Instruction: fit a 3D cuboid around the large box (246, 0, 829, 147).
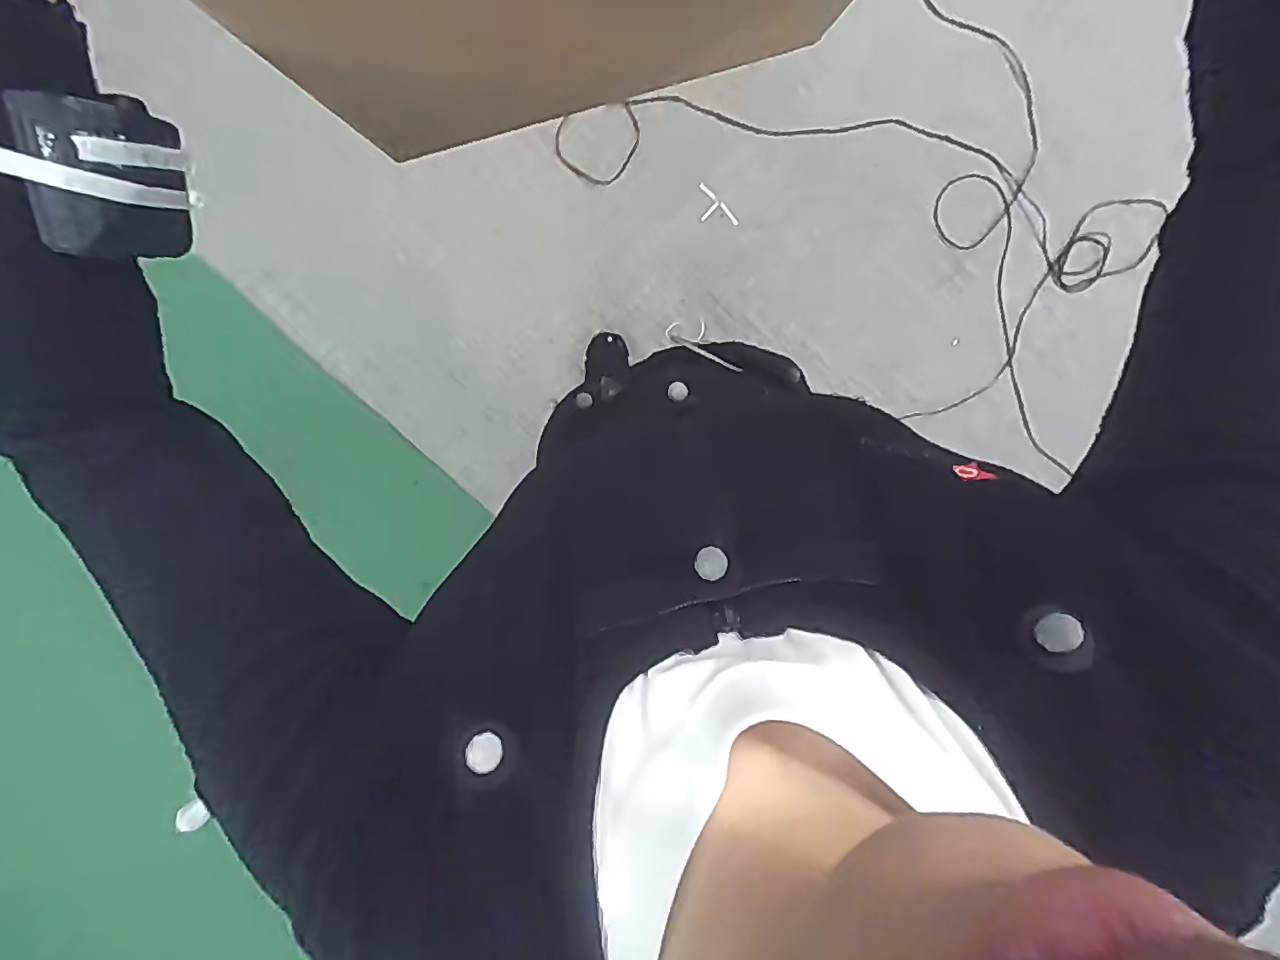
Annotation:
[{"bbox_3d":[-0.059,-0.452,0.308,0.408,0.320,0.320,-16,108,-2],"label":"large box"}]
